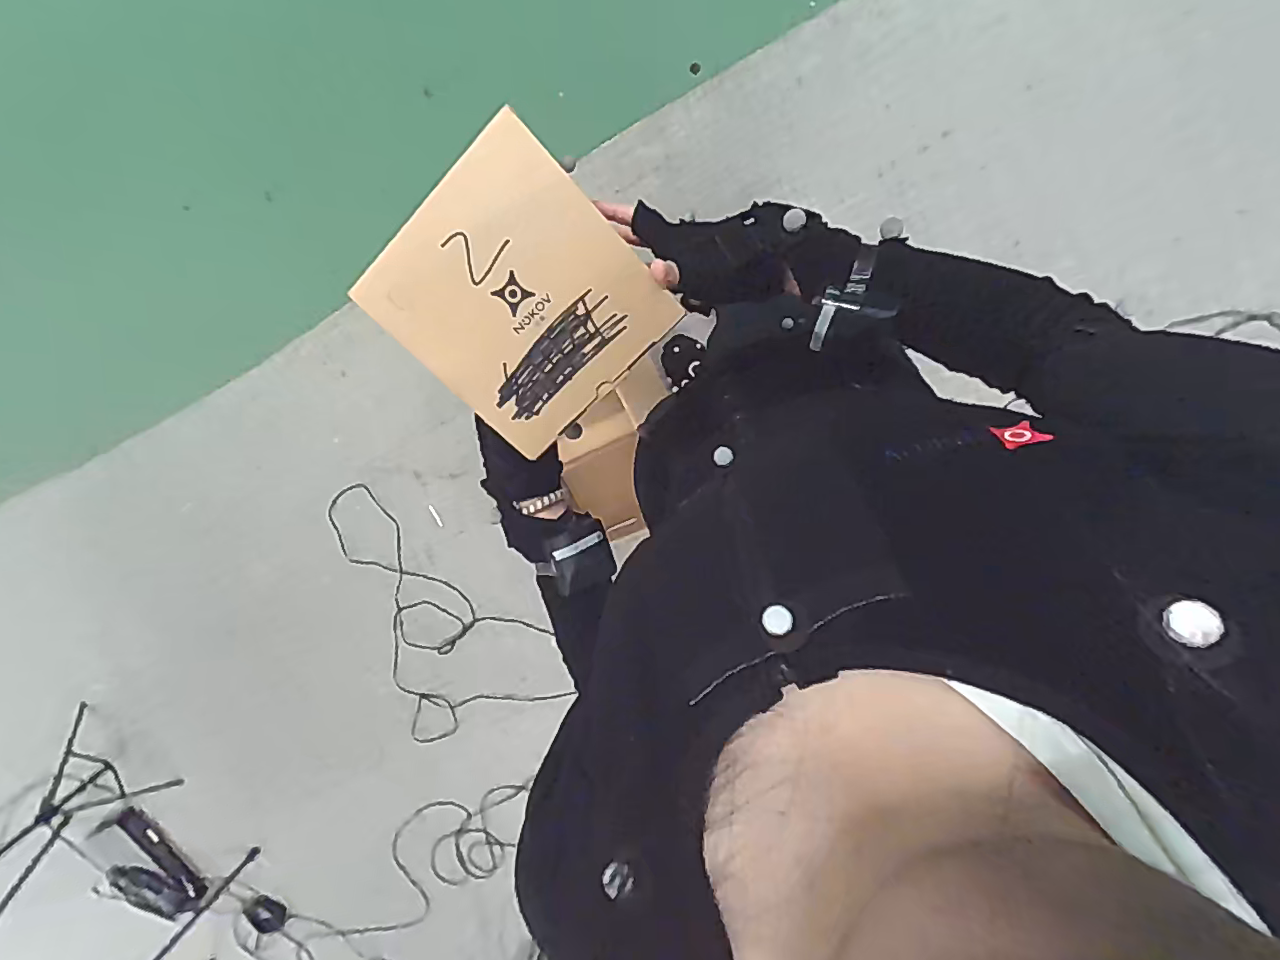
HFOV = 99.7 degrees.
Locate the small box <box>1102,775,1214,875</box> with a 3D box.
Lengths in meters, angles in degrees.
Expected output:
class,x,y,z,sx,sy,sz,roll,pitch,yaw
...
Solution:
class,x,y,z,sx,sy,sz,roll,pitch,yaw
small box,1.560,1.044,1.645,0.179,0.176,0.168,-27,103,12
